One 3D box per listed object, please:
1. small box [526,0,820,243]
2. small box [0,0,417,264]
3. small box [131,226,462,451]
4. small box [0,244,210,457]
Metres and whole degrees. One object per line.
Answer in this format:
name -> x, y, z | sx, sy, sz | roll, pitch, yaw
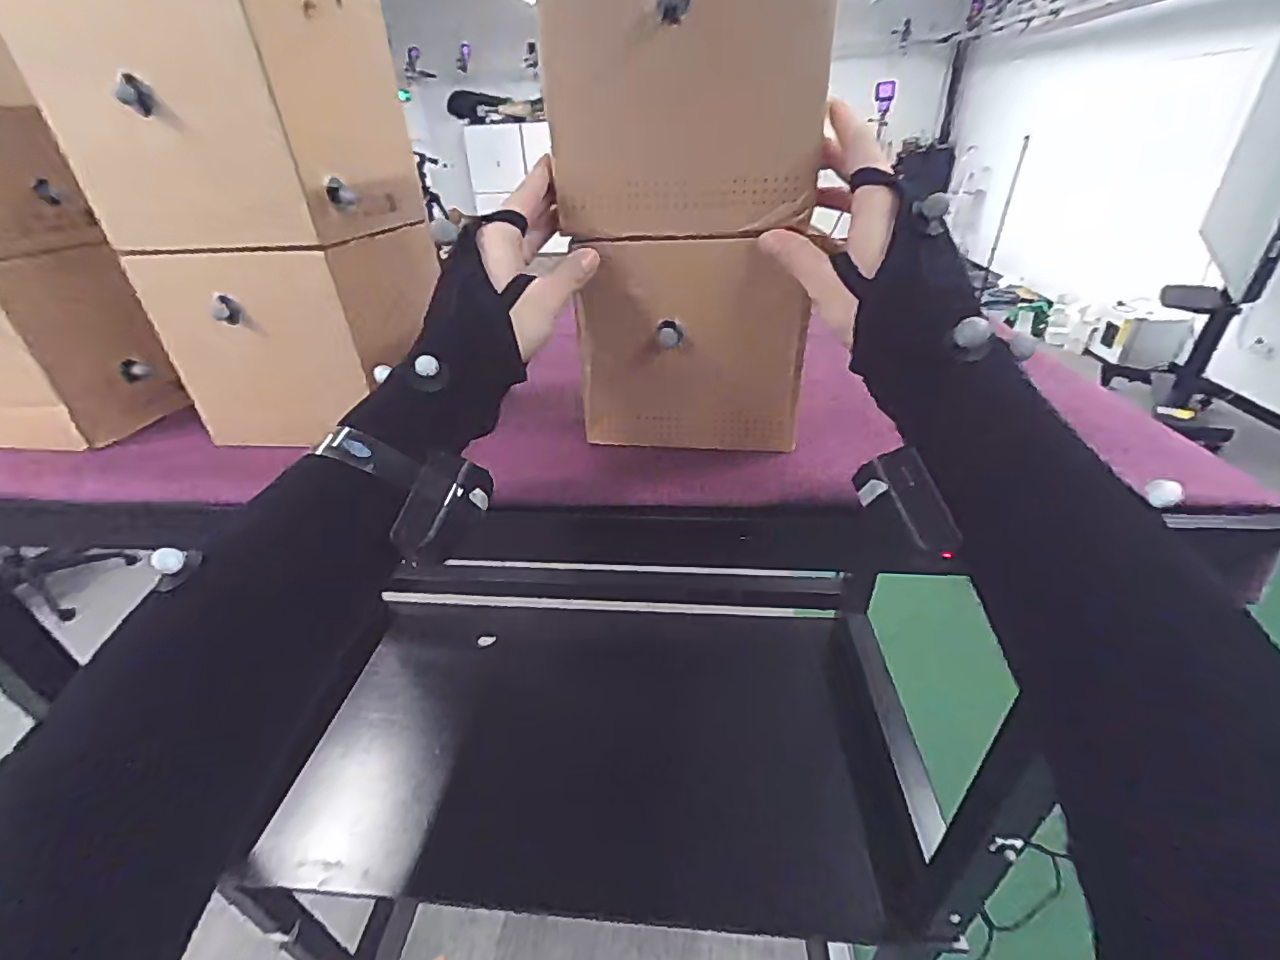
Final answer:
small box -> 0.031, -0.275, 0.392 | 0.179, 0.176, 0.168 | 3, 34, 11
small box -> -0.308, -0.275, 0.428 | 0.179, 0.176, 0.168 | 0, 32, 9
small box -> -0.299, -0.137, 0.516 | 0.179, 0.176, 0.168 | 1, 33, 8
small box -> -0.580, -0.133, 0.545 | 0.179, 0.176, 0.168 | 2, 32, 7
